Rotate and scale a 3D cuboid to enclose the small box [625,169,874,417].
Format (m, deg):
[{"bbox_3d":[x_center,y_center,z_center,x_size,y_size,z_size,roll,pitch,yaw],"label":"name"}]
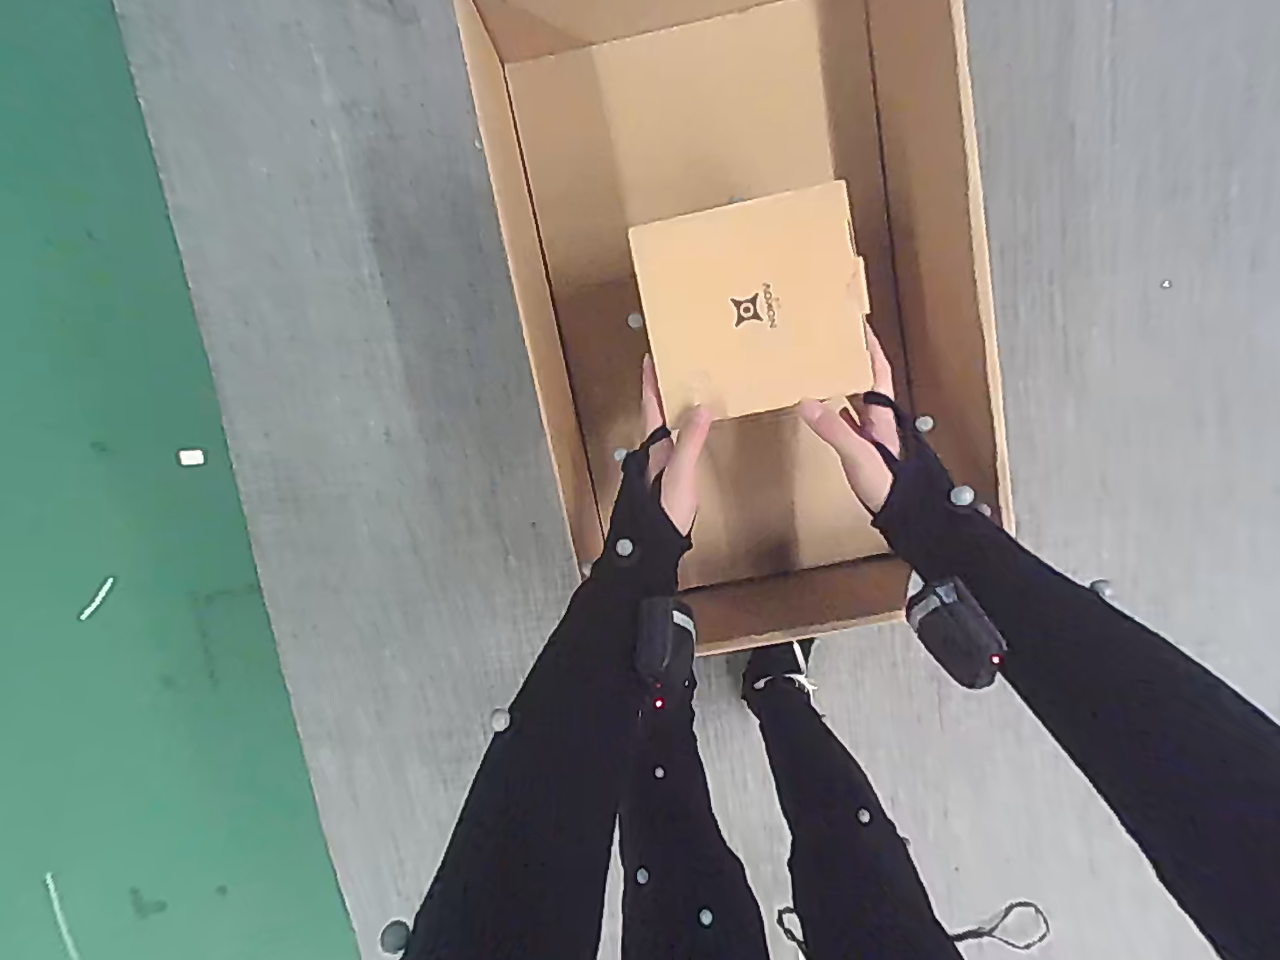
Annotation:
[{"bbox_3d":[0.092,-0.154,0.509,0.179,0.176,0.168,-12,98,3],"label":"small box"}]
